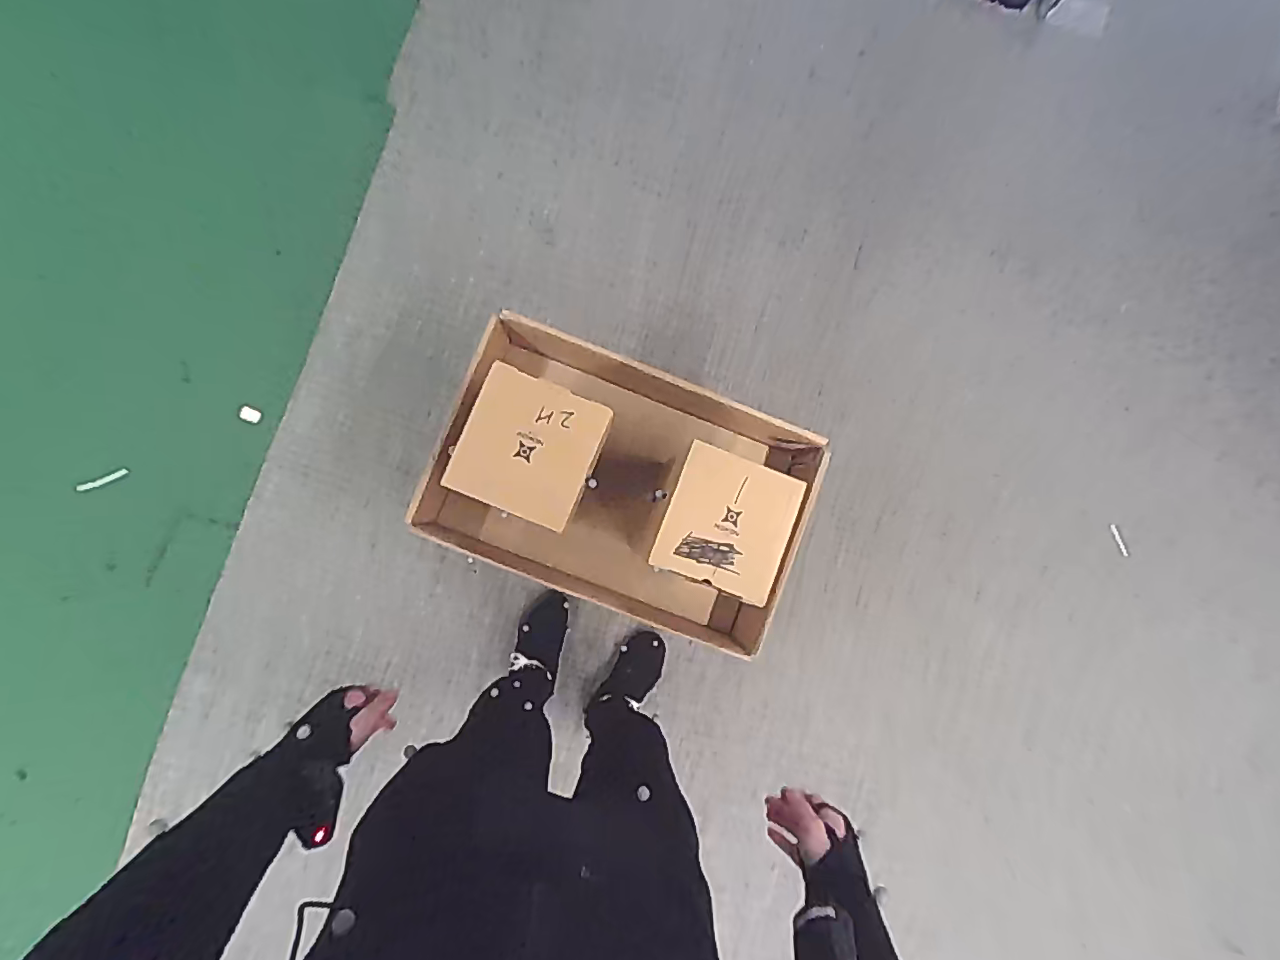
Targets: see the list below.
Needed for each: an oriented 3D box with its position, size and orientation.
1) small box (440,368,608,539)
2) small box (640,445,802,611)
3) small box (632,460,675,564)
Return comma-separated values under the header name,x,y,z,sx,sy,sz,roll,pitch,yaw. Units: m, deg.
name,x,y,z,sx,sy,sz,roll,pitch,yaw
small box,-0.152,-0.029,0.769,0.168,0.176,0.179,23,84,-3
small box,0.105,0.069,0.785,0.168,0.176,0.179,22,83,-3
small box,0.091,0.083,0.948,0.168,0.176,0.179,22,84,-3
